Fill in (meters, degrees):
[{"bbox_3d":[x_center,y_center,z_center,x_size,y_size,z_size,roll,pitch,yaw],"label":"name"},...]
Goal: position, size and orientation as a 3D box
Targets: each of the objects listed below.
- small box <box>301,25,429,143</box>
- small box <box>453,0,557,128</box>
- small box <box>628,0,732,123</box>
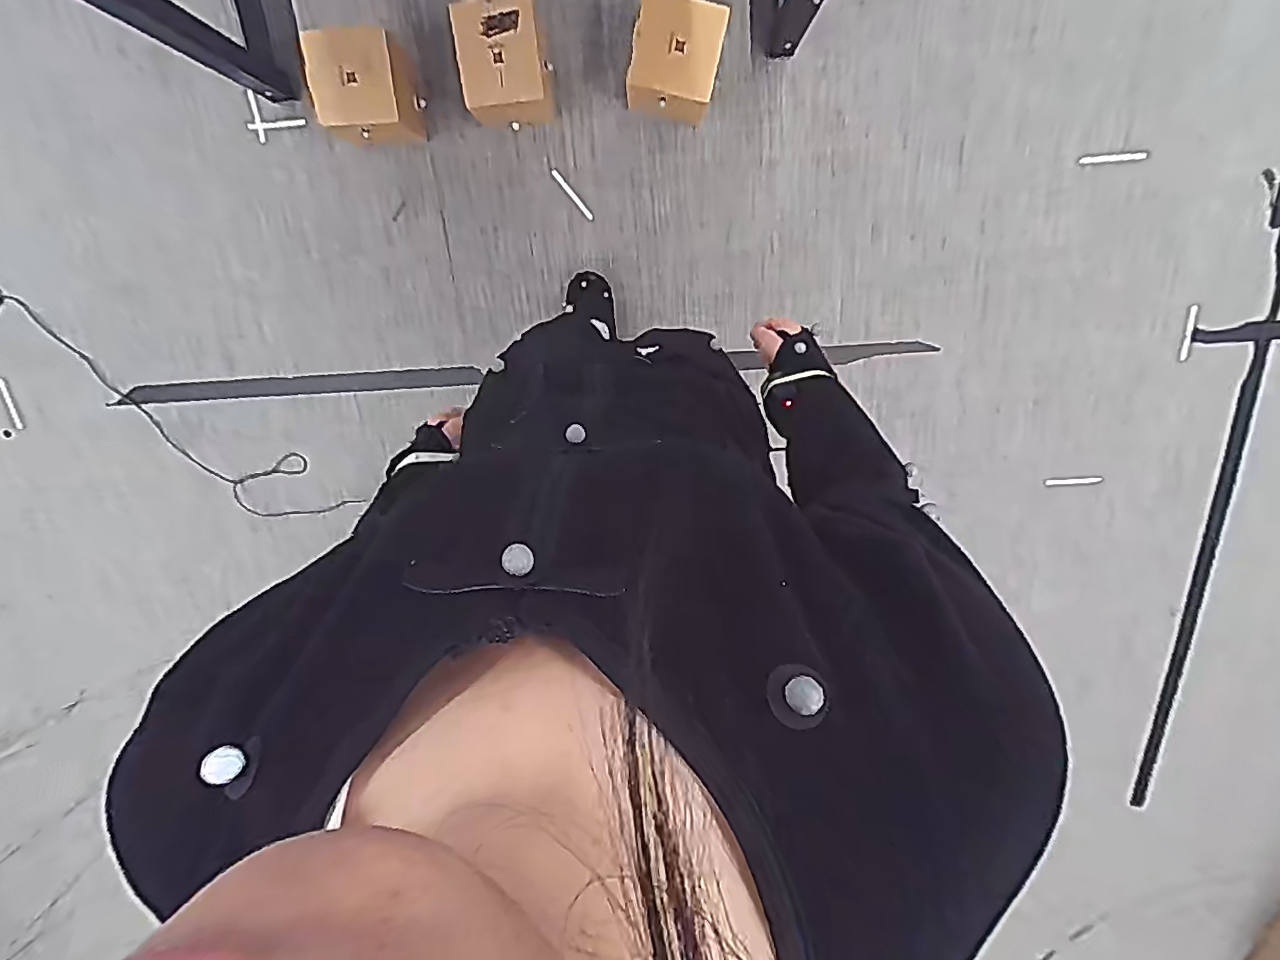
[{"bbox_3d":[-0.580,-0.841,1.164,0.179,0.176,0.168,-2,109,0],"label":"small box"},{"bbox_3d":[-0.277,-0.876,1.147,0.168,0.176,0.179,-4,109,2],"label":"small box"},{"bbox_3d":[0.079,-0.884,1.142,0.179,0.176,0.168,13,109,-2],"label":"small box"}]
